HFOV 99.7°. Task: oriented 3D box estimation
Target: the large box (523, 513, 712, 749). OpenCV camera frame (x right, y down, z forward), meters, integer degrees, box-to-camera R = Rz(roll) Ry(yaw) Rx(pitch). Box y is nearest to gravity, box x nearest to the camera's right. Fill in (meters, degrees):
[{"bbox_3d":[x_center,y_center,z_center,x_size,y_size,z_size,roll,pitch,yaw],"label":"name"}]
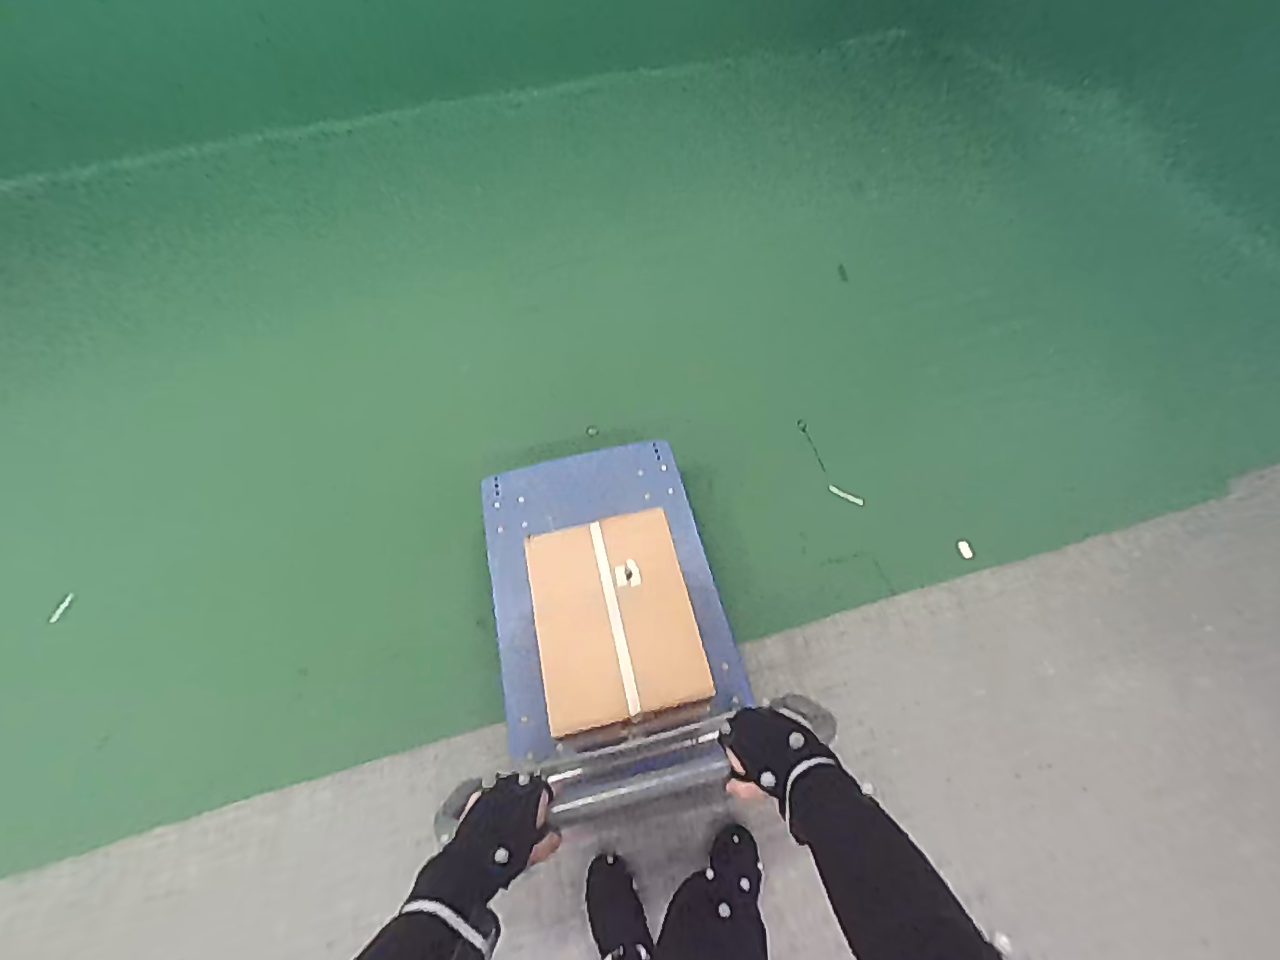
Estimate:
[{"bbox_3d":[-0.052,0.345,1.218,0.320,0.320,0.408,-13,61,-5],"label":"large box"}]
